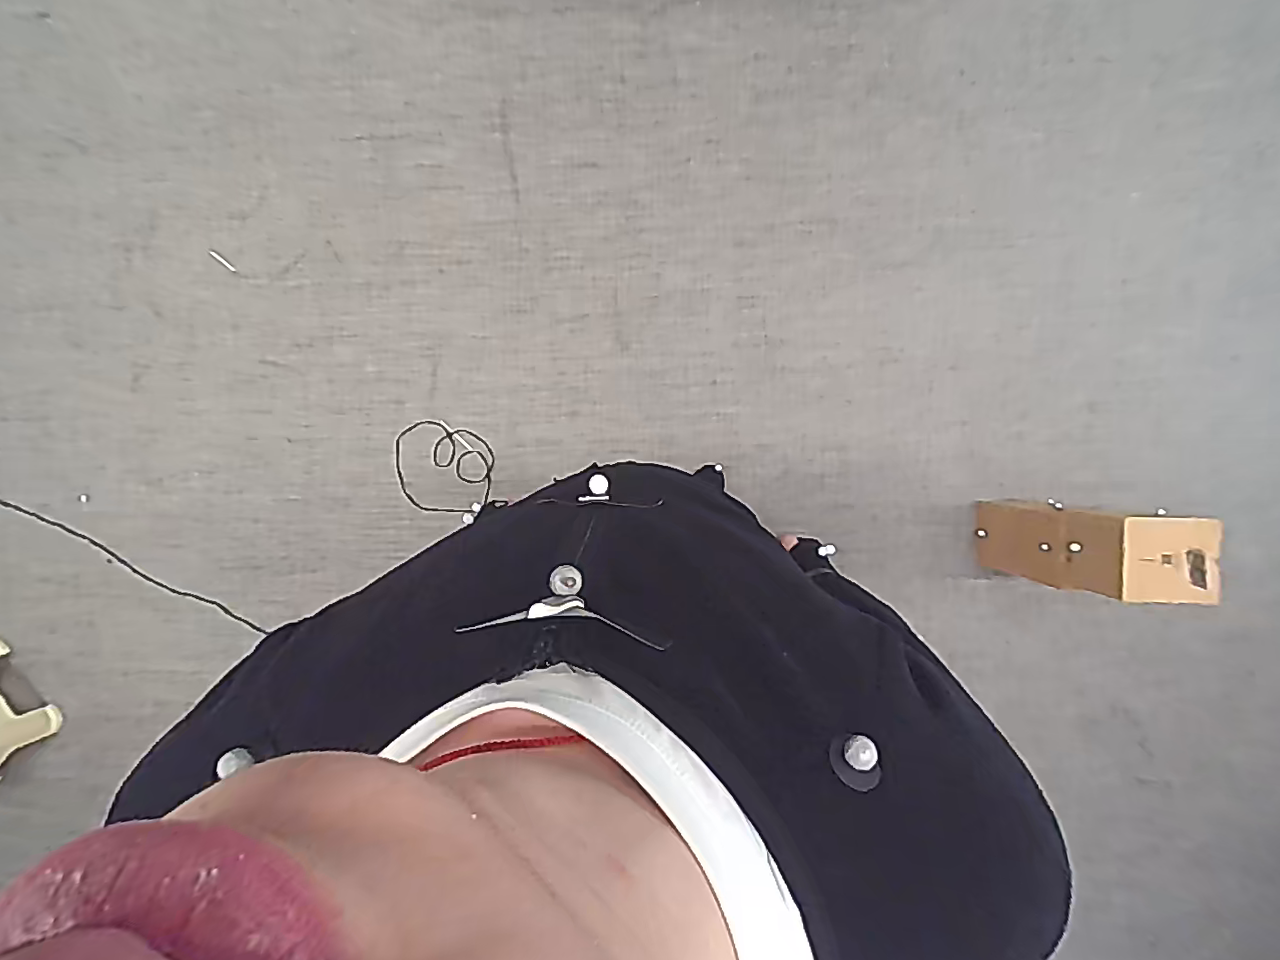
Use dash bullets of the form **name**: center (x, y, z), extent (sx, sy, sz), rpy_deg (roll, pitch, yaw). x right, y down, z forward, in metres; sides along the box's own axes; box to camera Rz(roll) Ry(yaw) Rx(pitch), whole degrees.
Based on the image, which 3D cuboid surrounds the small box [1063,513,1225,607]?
- **small box**: center (1.016, 0.155, 1.102), extent (0.179, 0.176, 0.168), rpy_deg (1, 91, 4)

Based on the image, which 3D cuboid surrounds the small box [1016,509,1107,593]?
- **small box**: center (1.017, 0.160, 1.267), extent (0.168, 0.176, 0.179), rpy_deg (0, 93, 3)

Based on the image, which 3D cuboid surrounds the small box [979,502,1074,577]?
- **small box**: center (1.027, 0.155, 1.429), extent (0.168, 0.176, 0.179), rpy_deg (1, 92, 3)
